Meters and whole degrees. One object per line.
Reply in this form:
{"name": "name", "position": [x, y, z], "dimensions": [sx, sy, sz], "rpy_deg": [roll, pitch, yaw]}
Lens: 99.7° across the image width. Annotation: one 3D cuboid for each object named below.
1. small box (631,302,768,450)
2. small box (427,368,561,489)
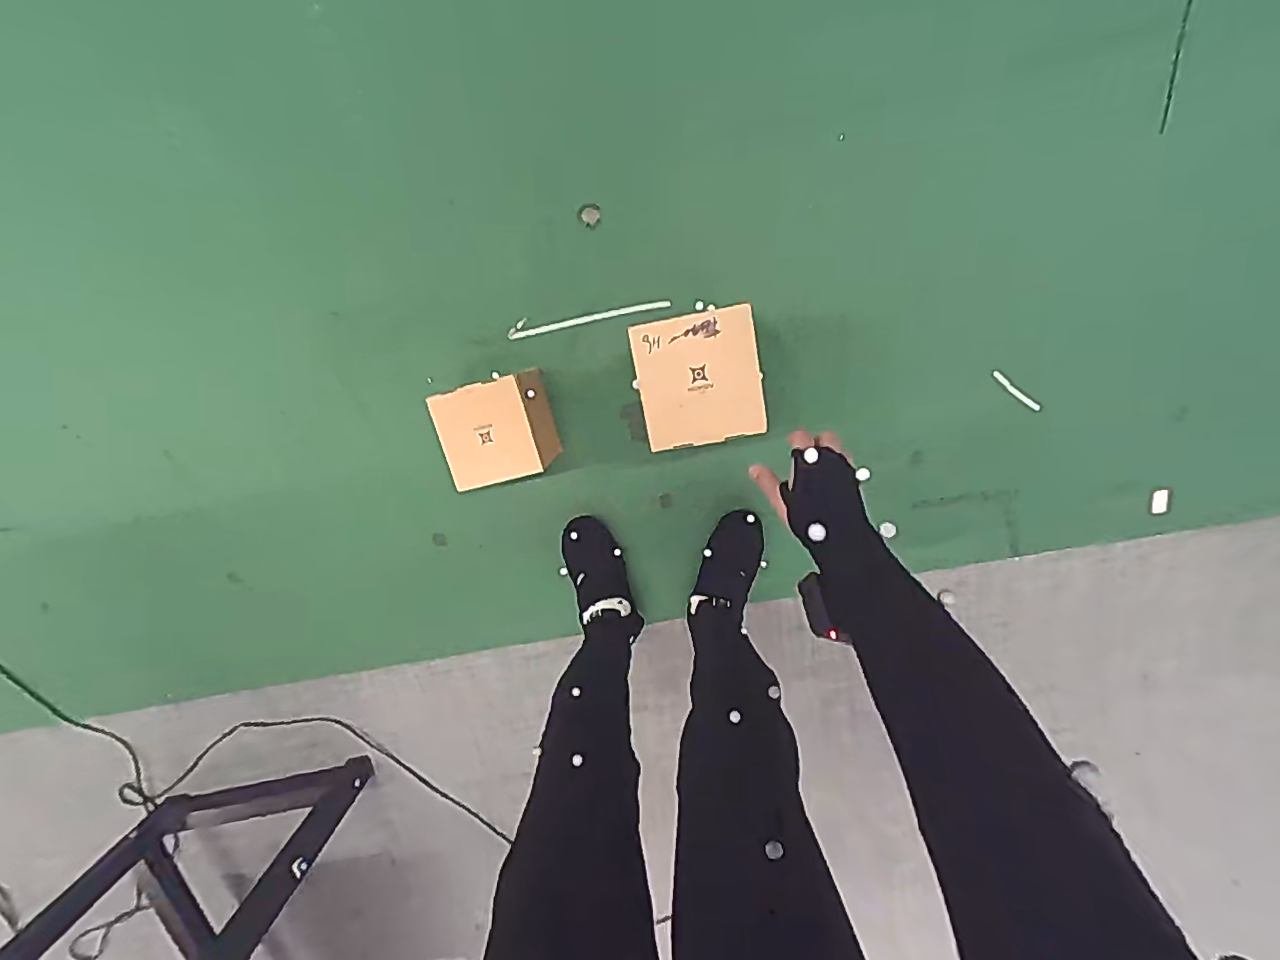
{"name": "small box", "position": [0.086, -0.159, 0.799], "dimensions": [0.168, 0.176, 0.179], "rpy_deg": [-10, 106, 5]}
{"name": "small box", "position": [-0.259, -0.101, 1.007], "dimensions": [0.168, 0.176, 0.179], "rpy_deg": [-13, 103, 7]}
